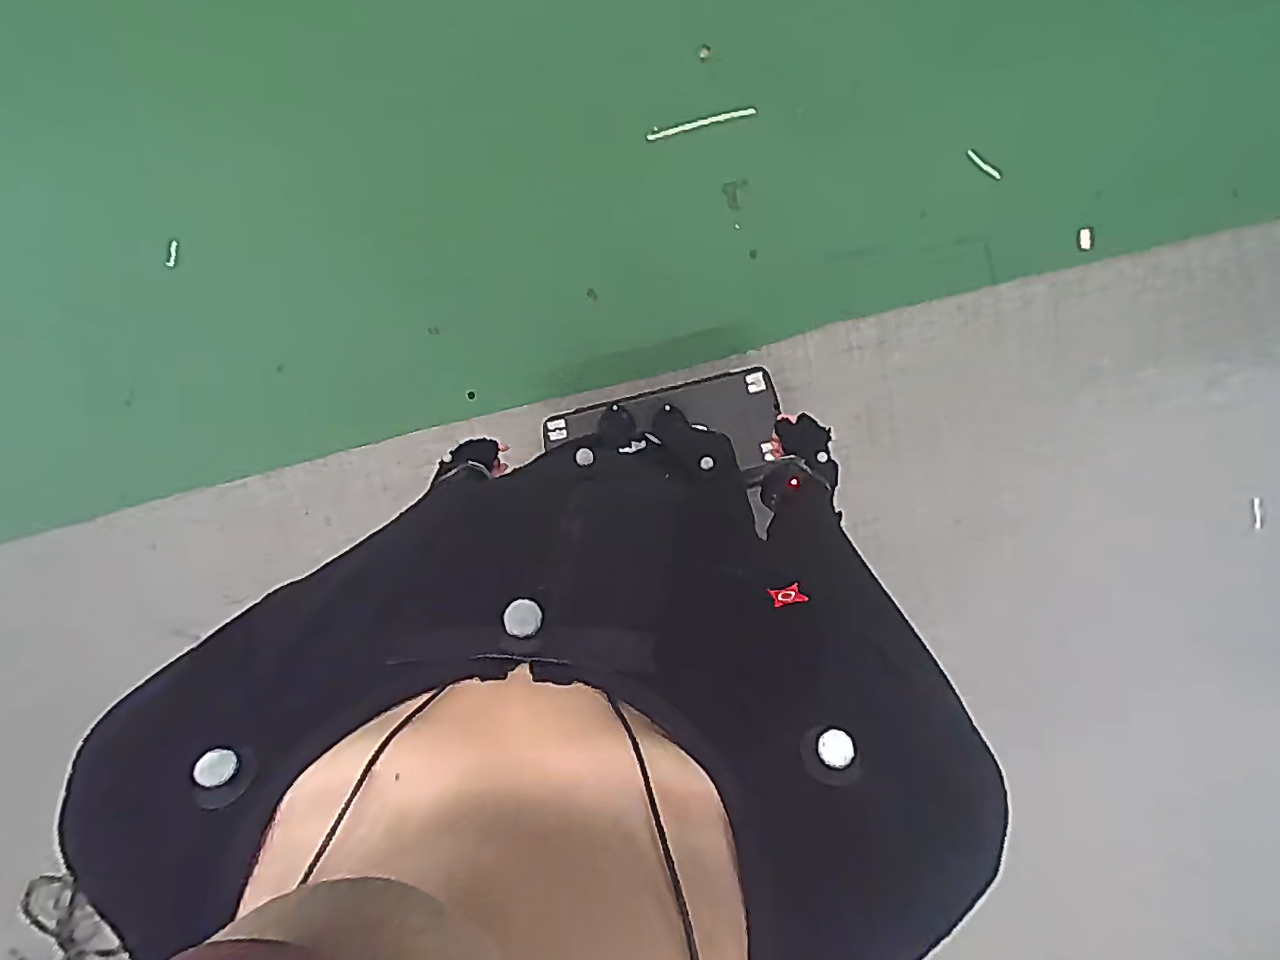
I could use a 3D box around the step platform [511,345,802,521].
[{"bbox_3d":[0.041,-0.122,1.369,0.684,0.204,0.286,-14,99,3],"label":"step platform"}]
